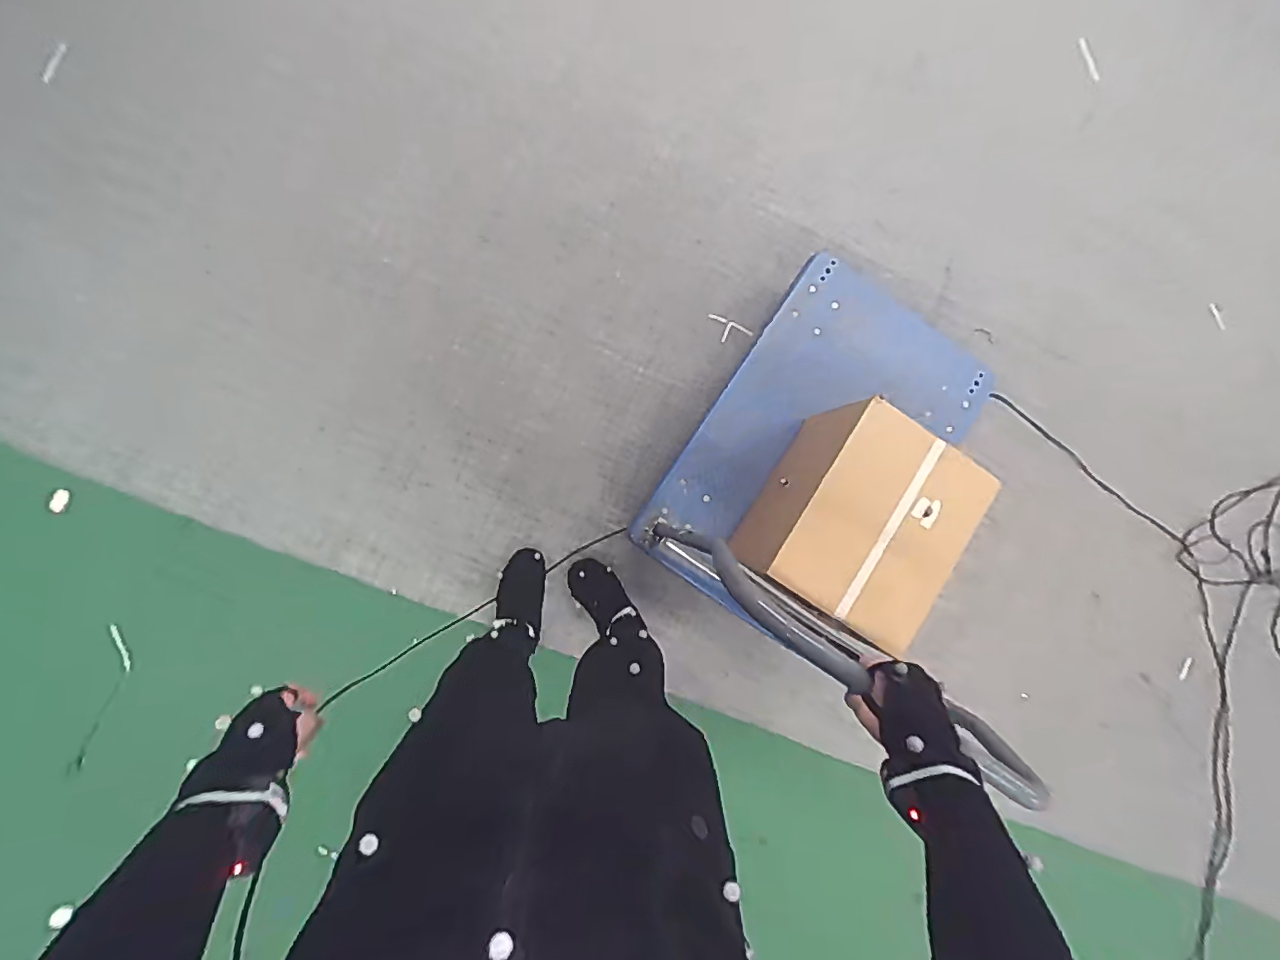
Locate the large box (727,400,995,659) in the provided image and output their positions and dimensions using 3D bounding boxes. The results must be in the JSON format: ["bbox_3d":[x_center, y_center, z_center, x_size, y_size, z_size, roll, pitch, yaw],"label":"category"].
[{"bbox_3d":[0.447,0.100,1.171,0.320,0.320,0.408,34,84,-5],"label":"large box"}]
